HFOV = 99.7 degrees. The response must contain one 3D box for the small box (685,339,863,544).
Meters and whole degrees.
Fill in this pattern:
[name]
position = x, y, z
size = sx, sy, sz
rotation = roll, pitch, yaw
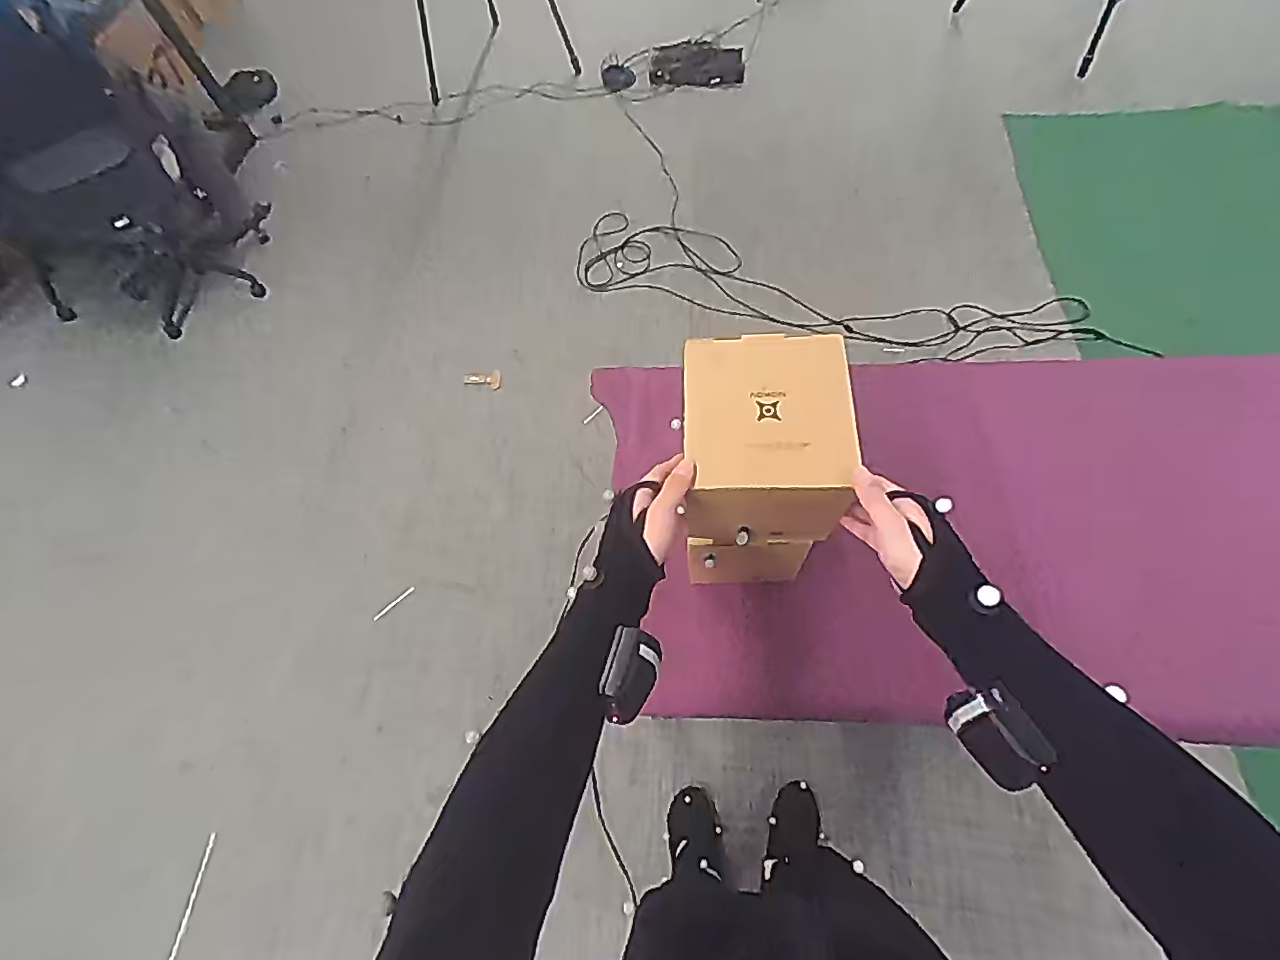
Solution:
[small box]
position = 0.136, -0.037, 0.610
size = 0.168, 0.176, 0.179
rotation = 0, 67, 6
